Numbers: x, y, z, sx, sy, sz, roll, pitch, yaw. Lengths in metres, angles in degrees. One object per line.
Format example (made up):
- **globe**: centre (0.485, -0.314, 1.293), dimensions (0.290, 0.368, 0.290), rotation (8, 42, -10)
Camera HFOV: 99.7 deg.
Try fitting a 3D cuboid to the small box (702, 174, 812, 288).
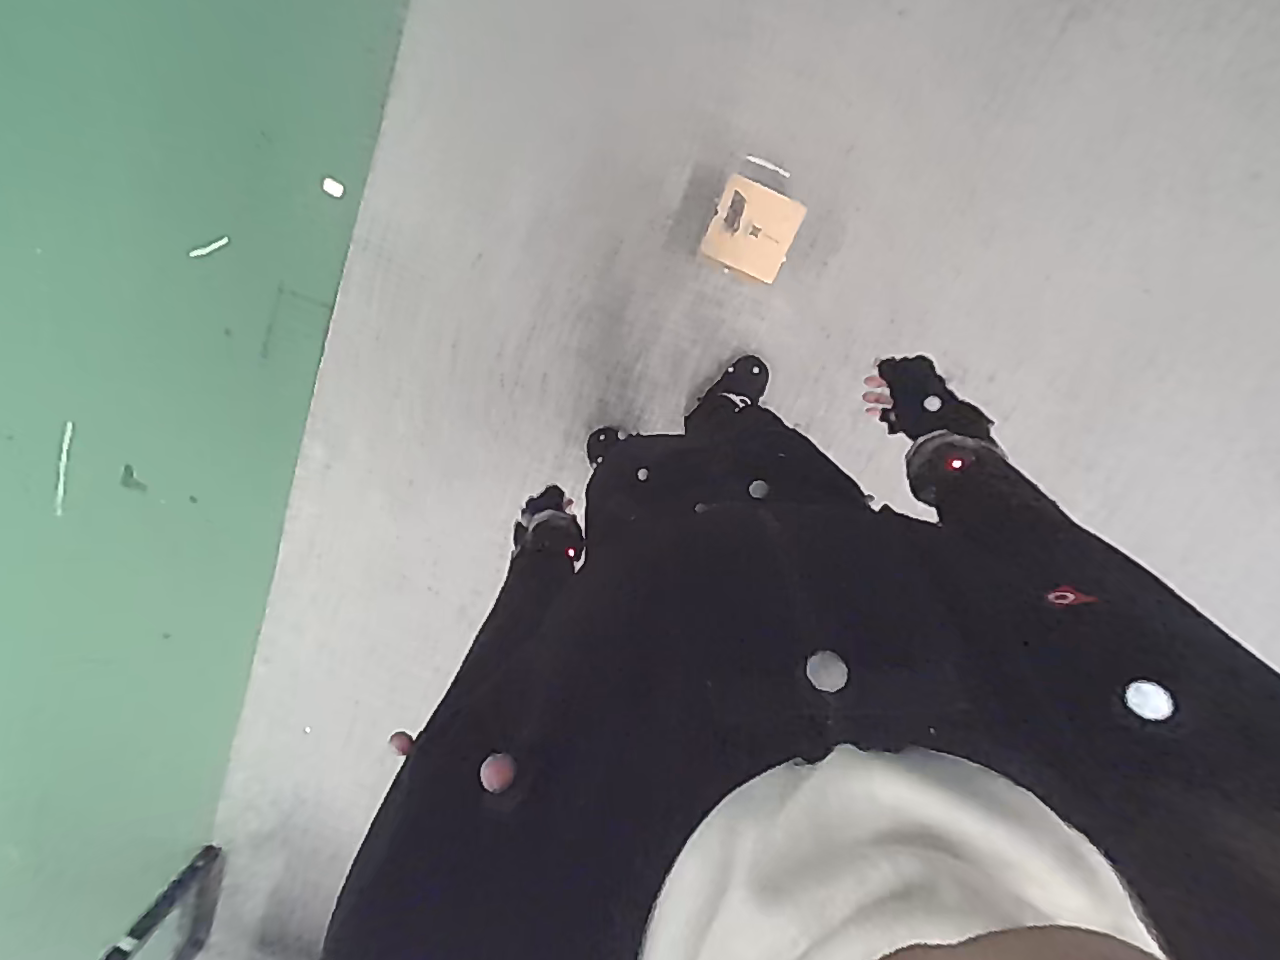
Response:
- **small box**: centre (0.249, -0.541, 1.203), dimensions (0.179, 0.176, 0.168), rotation (25, 107, -2)
